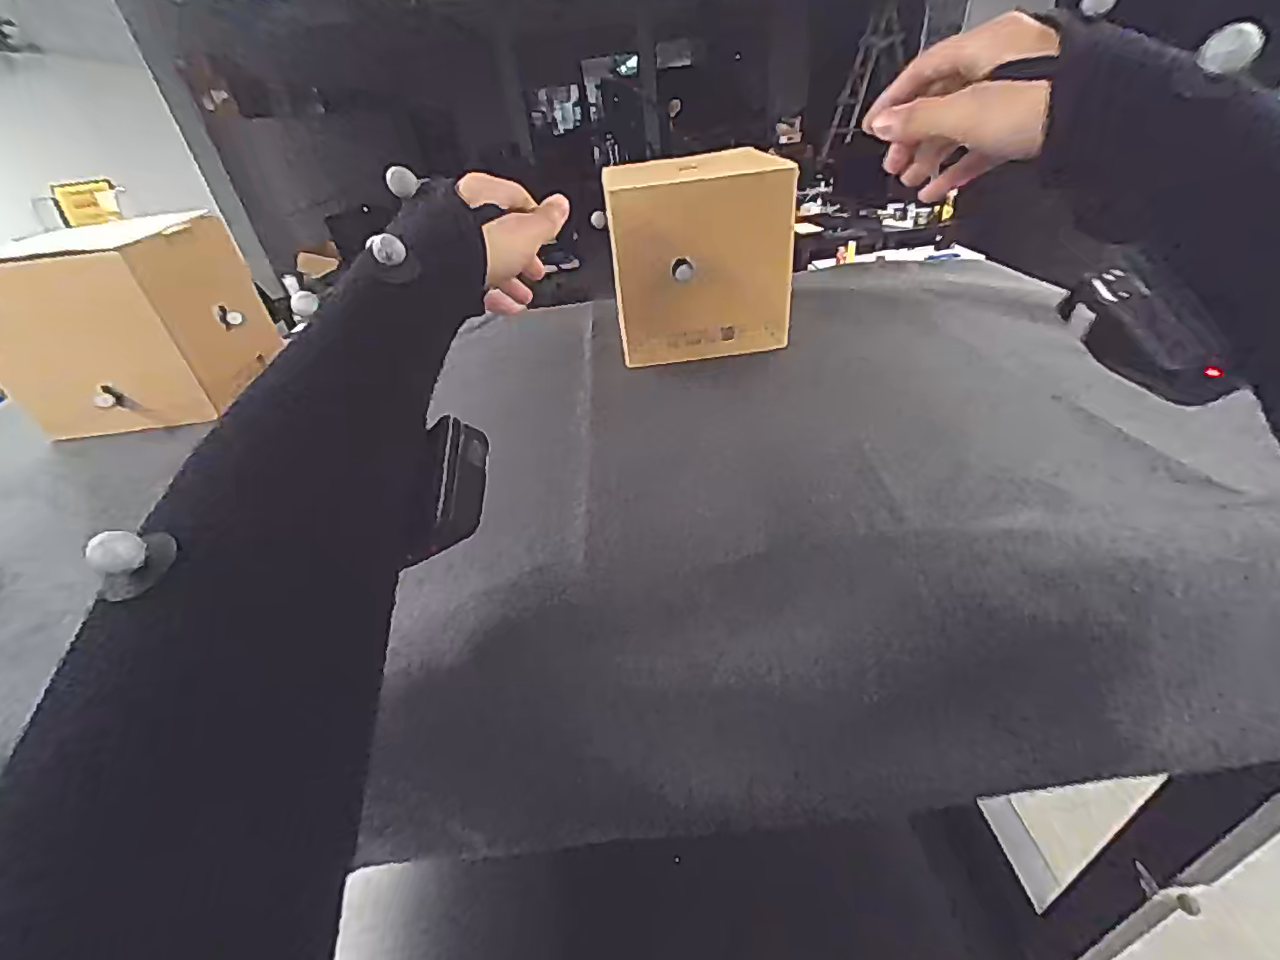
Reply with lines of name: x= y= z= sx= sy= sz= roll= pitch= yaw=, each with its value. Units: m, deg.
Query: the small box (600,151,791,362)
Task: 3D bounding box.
small box: x=0.053 y=-0.232 z=0.571 sx=0.168 sy=0.176 sz=0.179 roll=-8 pitch=35 yaw=-1

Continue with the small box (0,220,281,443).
small box: x=-0.519 y=-0.155 z=0.558 sx=0.179 sy=0.176 sz=0.168 roll=-7 pitch=36 yaw=-2
